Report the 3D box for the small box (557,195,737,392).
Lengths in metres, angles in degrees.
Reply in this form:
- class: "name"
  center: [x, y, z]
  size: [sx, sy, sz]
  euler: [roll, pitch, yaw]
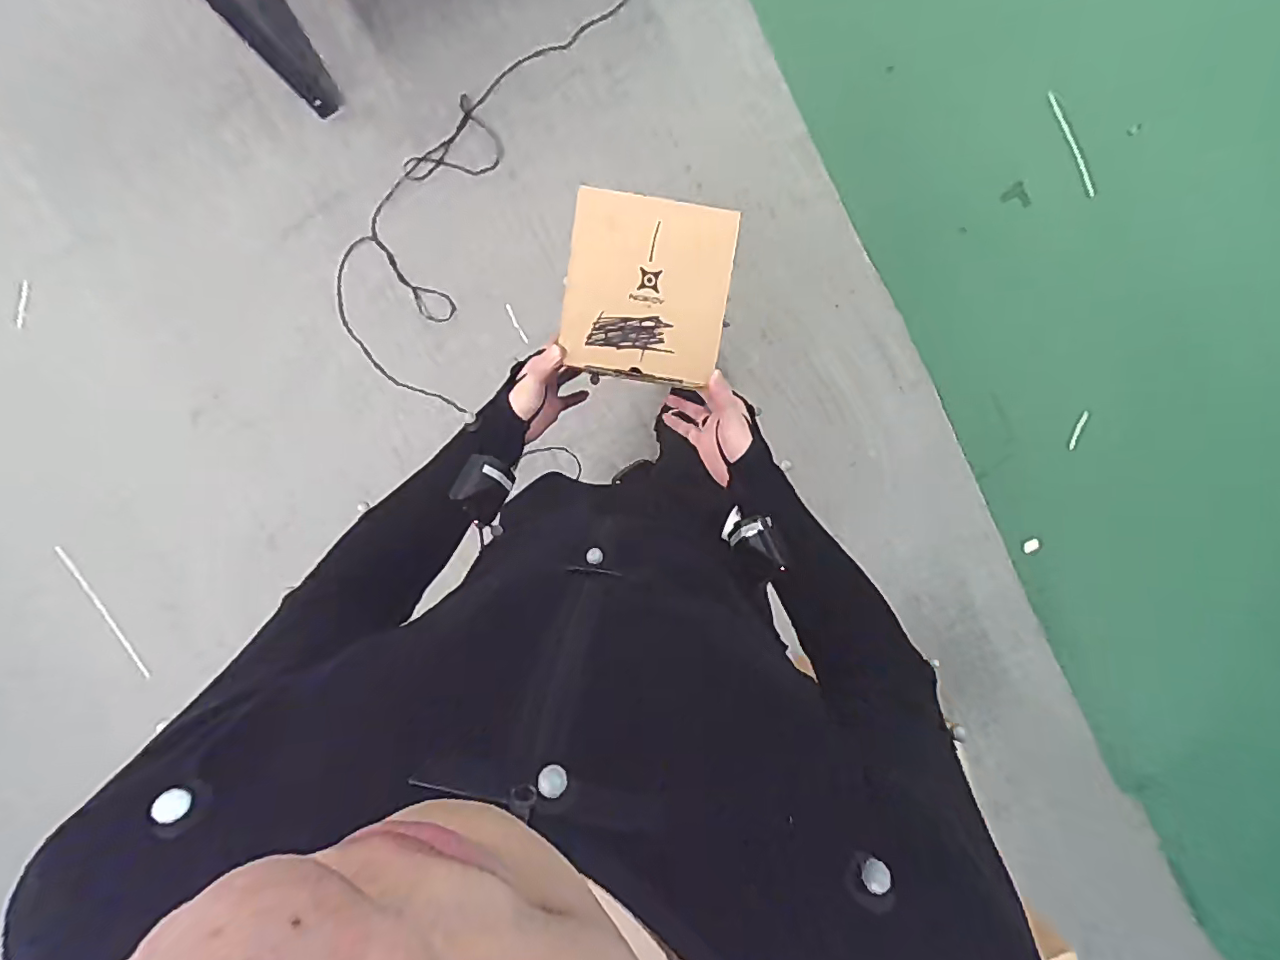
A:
- class: "small box"
  center: [0.004, -0.201, 0.631]
  size: [0.168, 0.176, 0.179]
  euler: [8, 99, -3]
